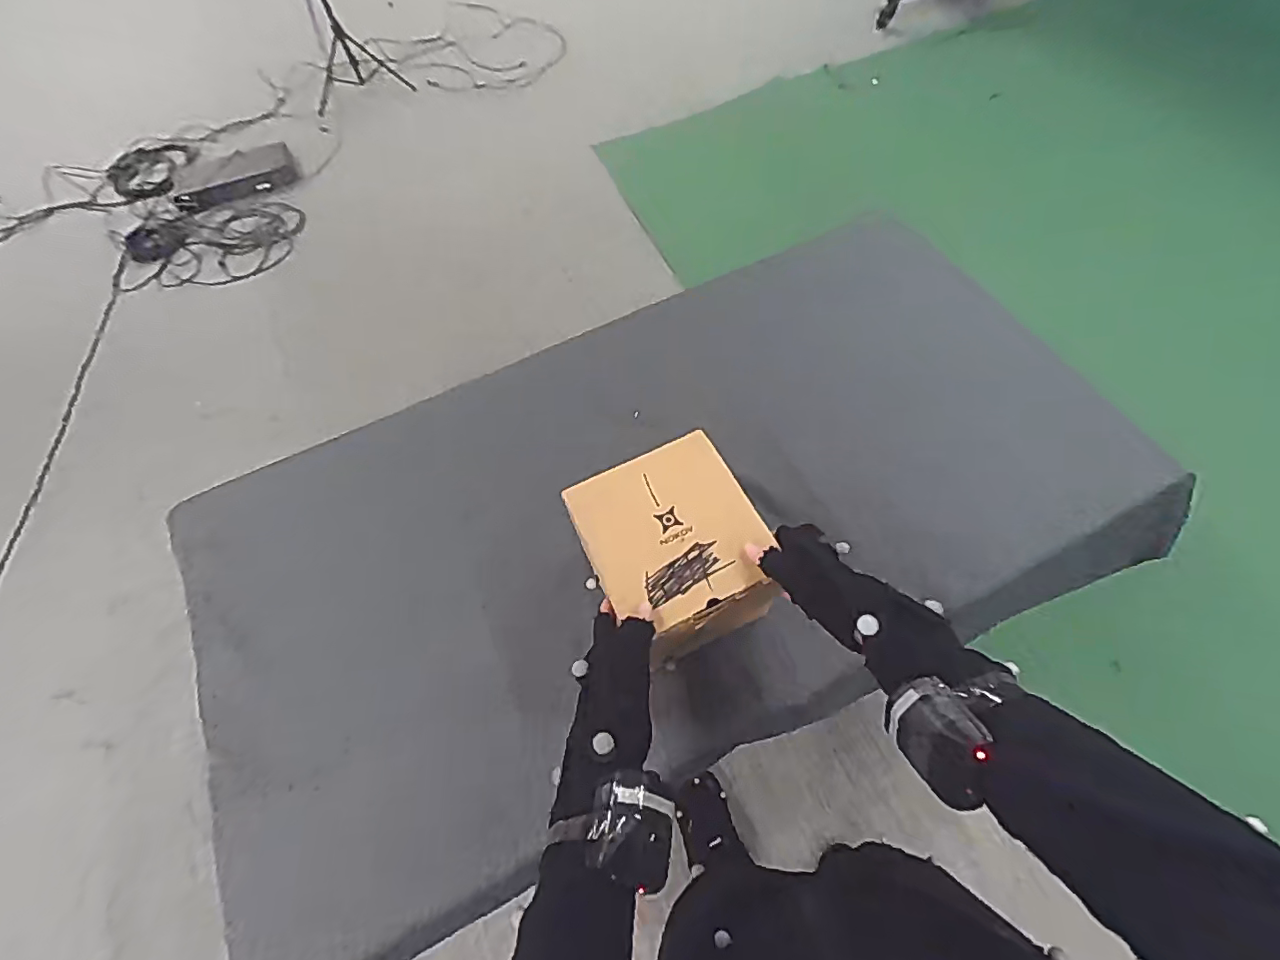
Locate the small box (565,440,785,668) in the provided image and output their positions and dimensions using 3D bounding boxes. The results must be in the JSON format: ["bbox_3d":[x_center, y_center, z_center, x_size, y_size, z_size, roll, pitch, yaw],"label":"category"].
[{"bbox_3d":[0.035,0.093,0.604,0.168,0.176,0.179,-24,62,-9],"label":"small box"}]
